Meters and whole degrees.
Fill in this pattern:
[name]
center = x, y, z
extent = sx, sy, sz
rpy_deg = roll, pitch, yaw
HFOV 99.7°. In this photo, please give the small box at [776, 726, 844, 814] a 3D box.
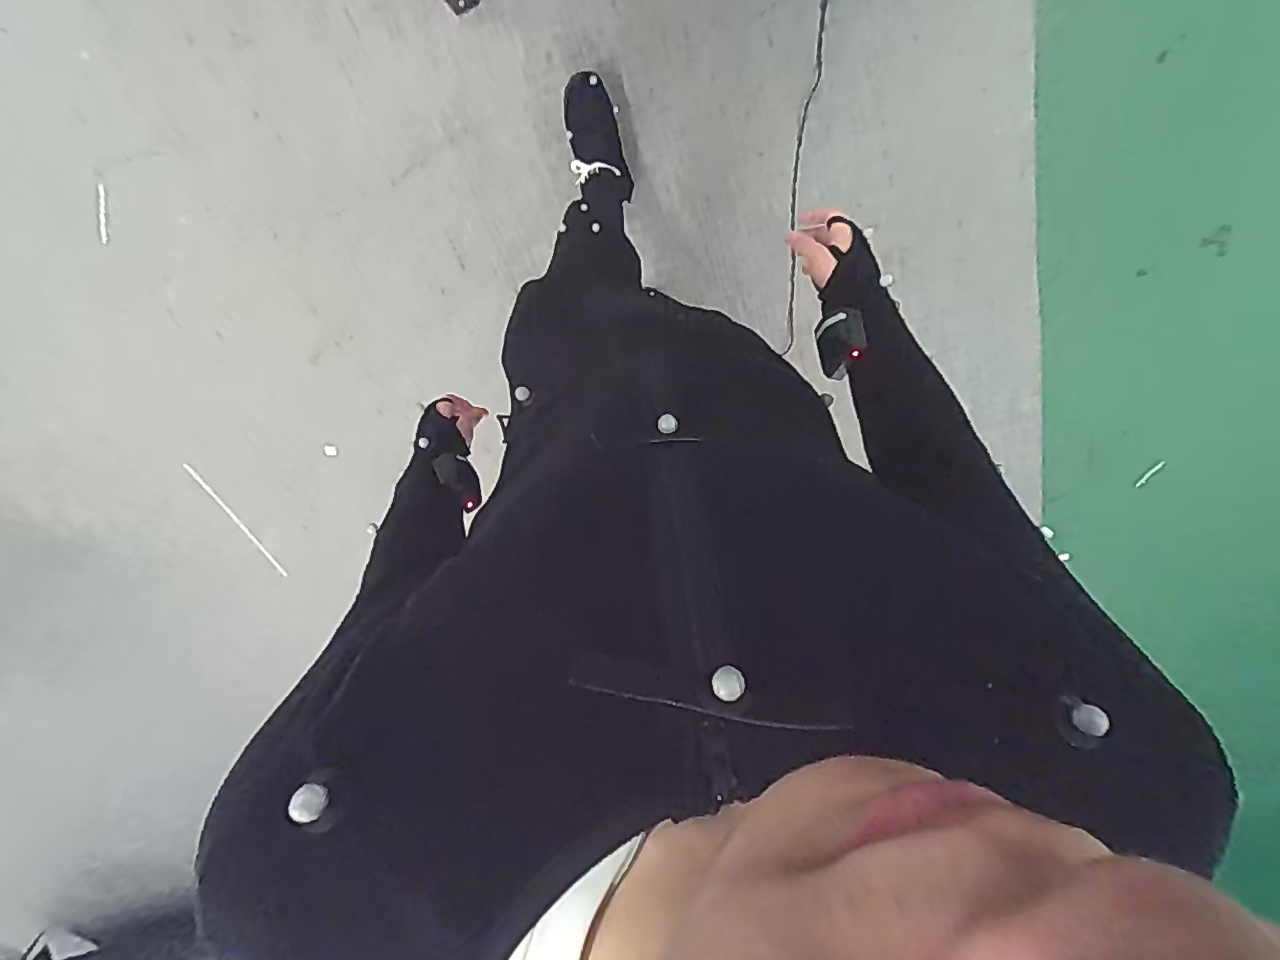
[small box]
center = 0.530, 0.896, 1.671
extent = 0.168, 0.176, 0.179
rpy_deg = -14, 116, 8
